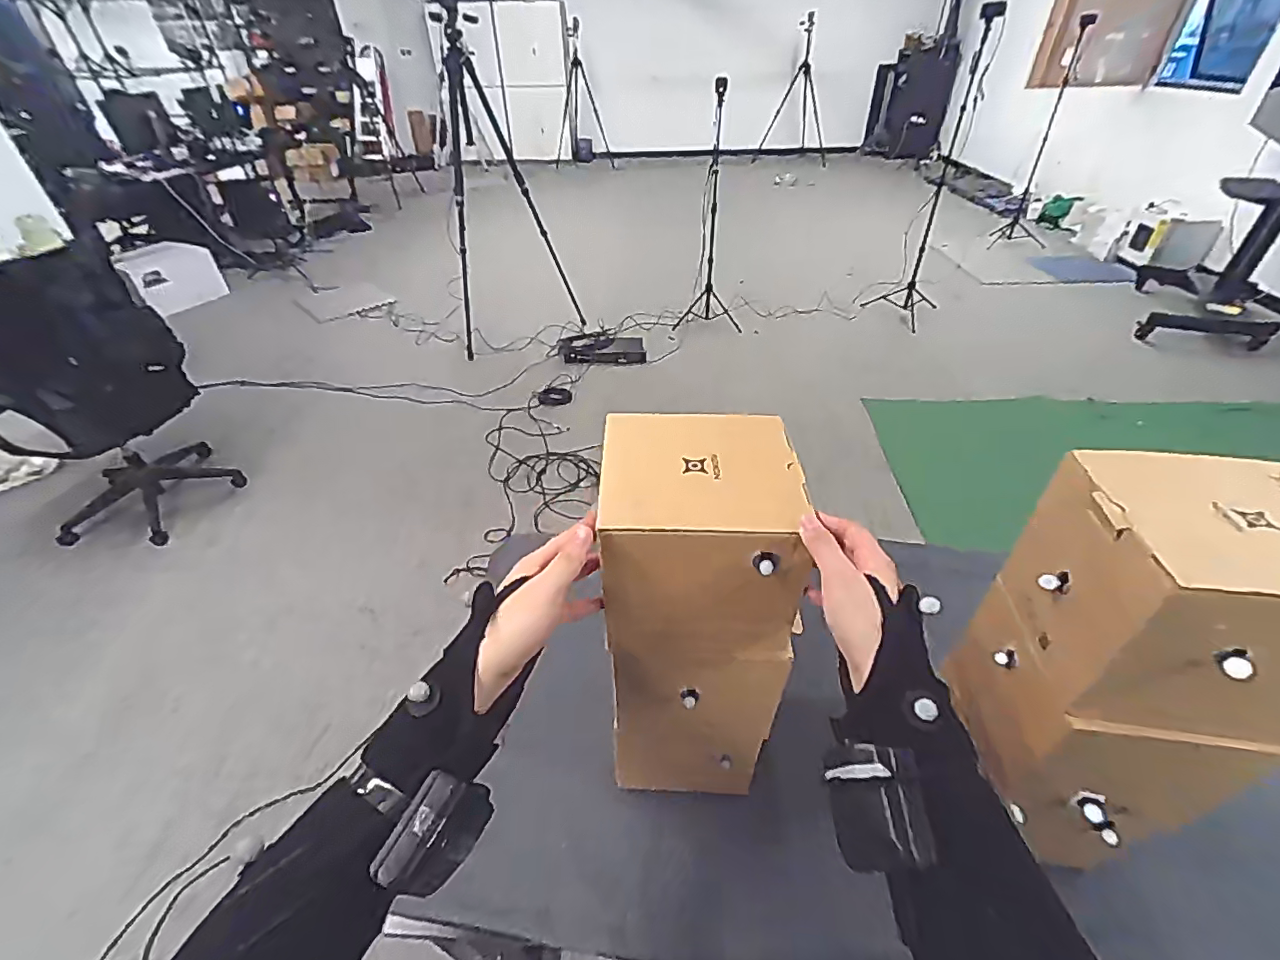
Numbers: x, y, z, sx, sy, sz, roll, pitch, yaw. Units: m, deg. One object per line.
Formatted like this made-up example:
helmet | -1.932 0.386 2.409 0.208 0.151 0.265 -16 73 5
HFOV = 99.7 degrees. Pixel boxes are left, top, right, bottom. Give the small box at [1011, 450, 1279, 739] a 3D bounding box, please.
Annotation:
small box | 0.448 0.093 0.456 0.179 0.176 0.168 4 39 10

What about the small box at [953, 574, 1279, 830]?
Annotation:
small box | 0.452 0.223 0.556 0.168 0.176 0.179 3 40 9

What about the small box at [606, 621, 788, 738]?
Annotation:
small box | 0.059 0.180 0.625 0.179 0.176 0.168 1 39 3

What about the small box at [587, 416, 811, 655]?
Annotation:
small box | 0.047 0.053 0.523 0.179 0.176 0.168 0 40 0

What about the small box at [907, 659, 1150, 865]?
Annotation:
small box | 0.458 0.345 0.663 0.179 0.176 0.168 3 38 7
